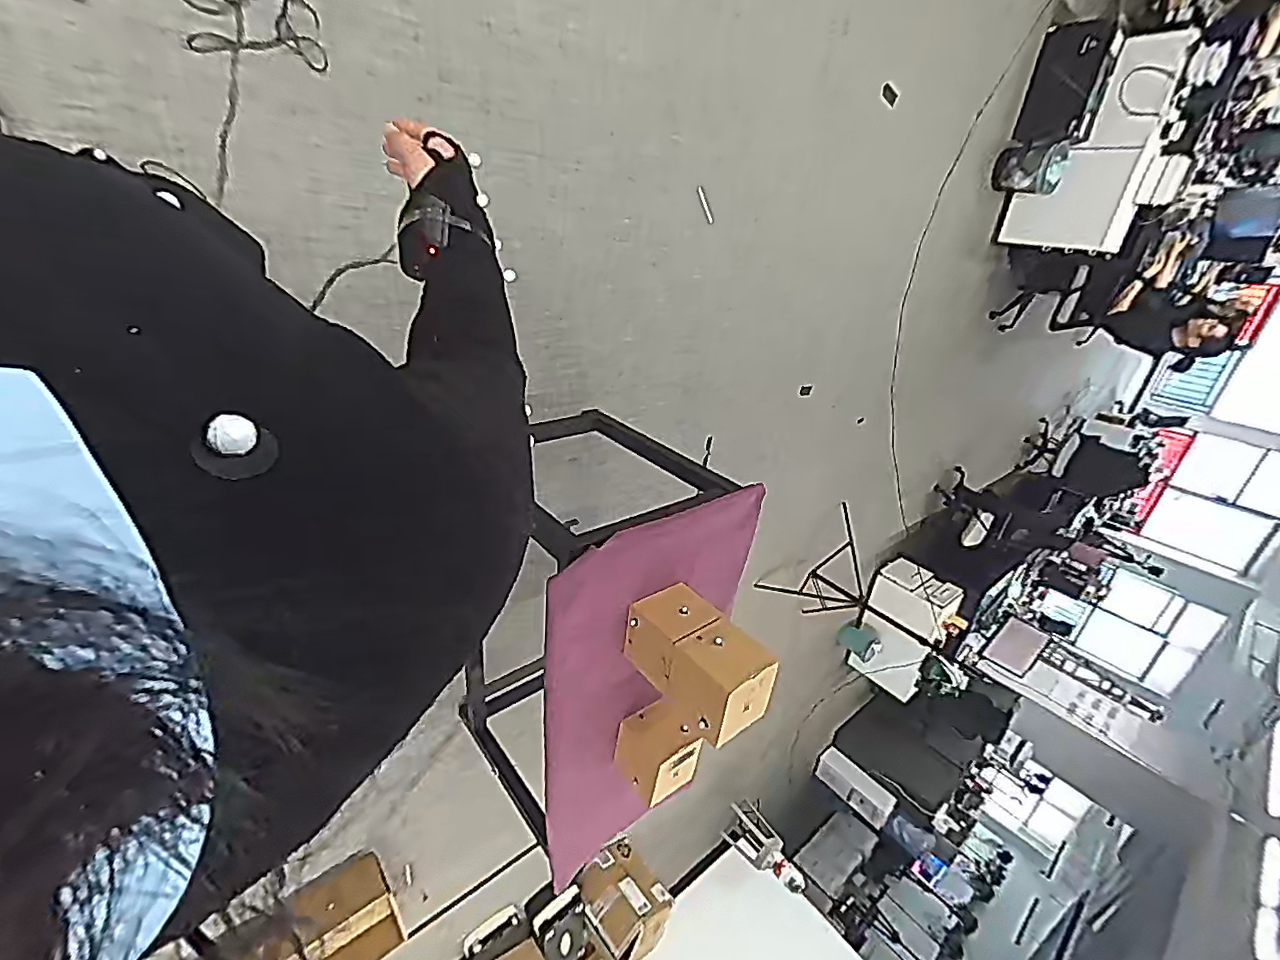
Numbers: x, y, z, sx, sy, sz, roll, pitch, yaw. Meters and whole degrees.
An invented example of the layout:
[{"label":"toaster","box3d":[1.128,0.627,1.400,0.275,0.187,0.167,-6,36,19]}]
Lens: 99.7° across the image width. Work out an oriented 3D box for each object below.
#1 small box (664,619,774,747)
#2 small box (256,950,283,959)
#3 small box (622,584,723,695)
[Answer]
[{"label":"small box","box3d":[0.172,0.452,1.227,0.168,0.176,0.179,-15,124,-37]},{"label":"small box","box3d":[-1.316,1.795,1.872,0.168,0.176,0.179,-20,126,-36]},{"label":"small box","box3d":[0.074,0.387,1.343,0.179,0.176,0.168,-15,124,-38]}]
